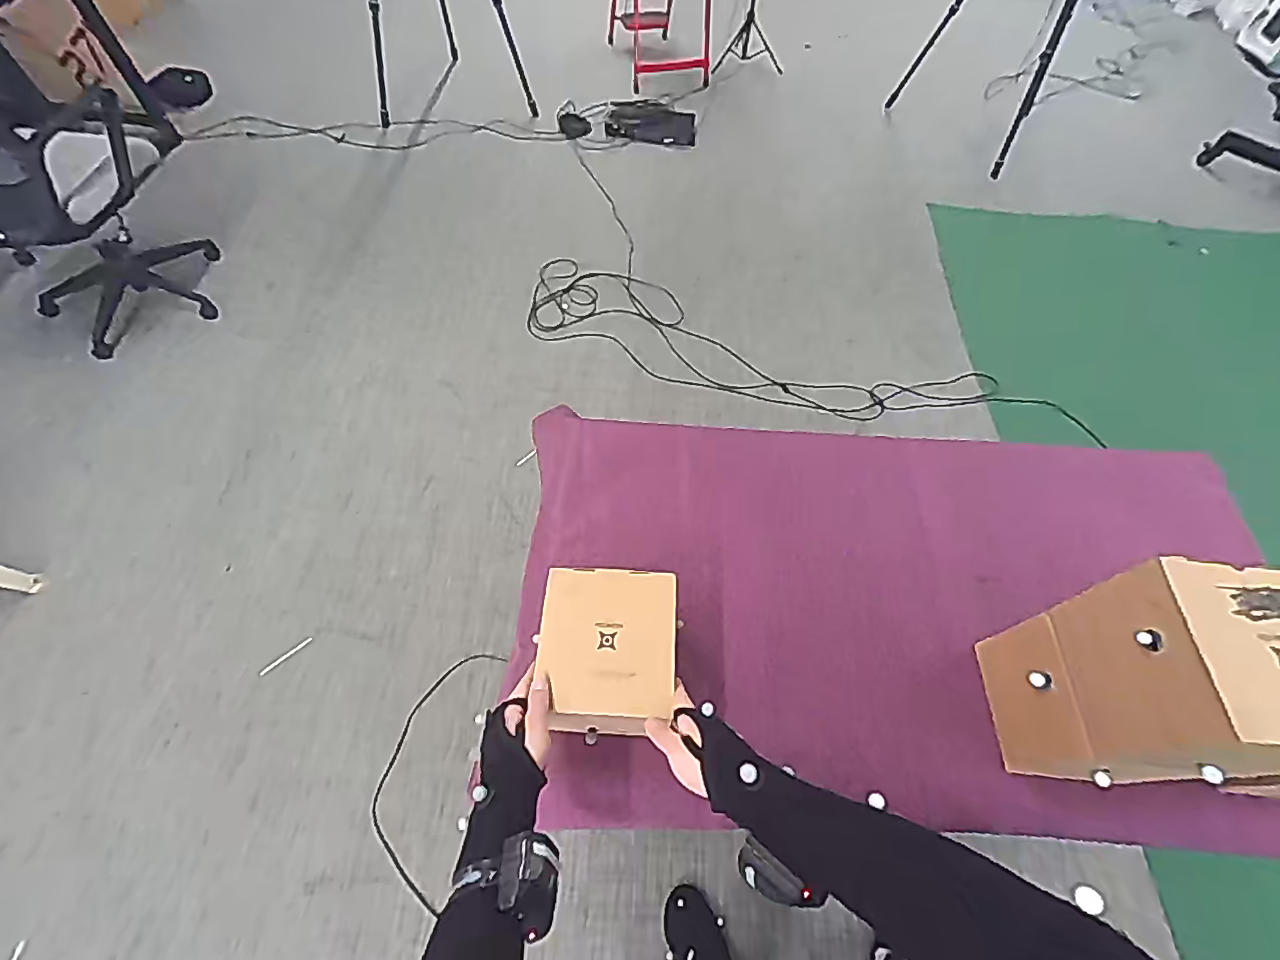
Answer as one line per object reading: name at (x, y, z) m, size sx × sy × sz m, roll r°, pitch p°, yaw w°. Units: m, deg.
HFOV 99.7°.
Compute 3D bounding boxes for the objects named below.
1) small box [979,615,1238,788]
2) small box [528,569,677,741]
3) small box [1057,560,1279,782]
small box at (0.585, 0.294, 0.705) m, size 0.168 × 0.176 × 0.179 m, roll 5°, pitch 57°, yaw 2°
small box at (-0.041, 0.234, 0.715) m, size 0.168 × 0.176 × 0.179 m, roll 3°, pitch 58°, yaw 2°
small box at (0.591, 0.204, 0.567) m, size 0.168 × 0.176 × 0.179 m, roll 5°, pitch 57°, yaw 2°
